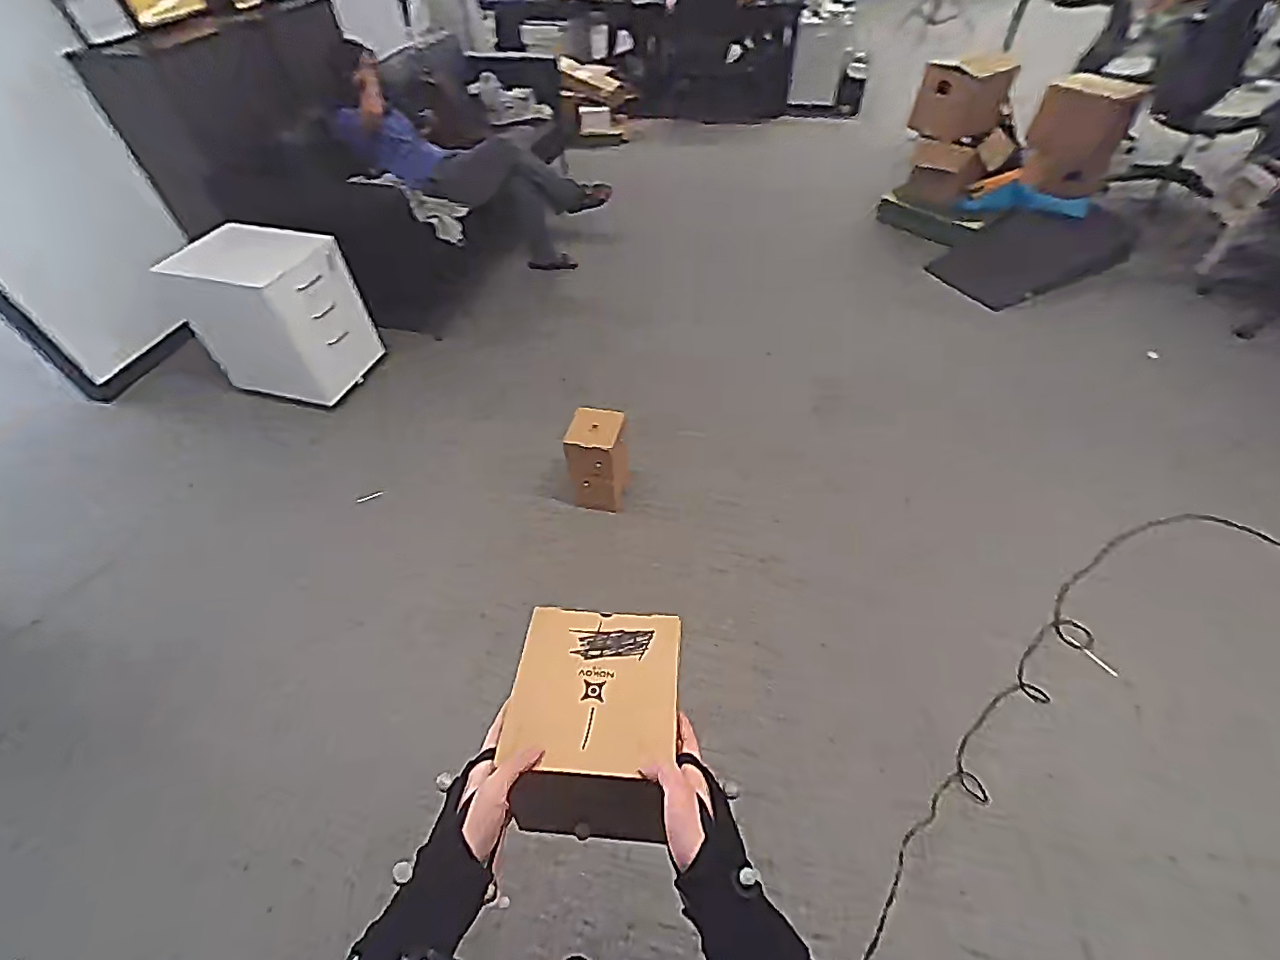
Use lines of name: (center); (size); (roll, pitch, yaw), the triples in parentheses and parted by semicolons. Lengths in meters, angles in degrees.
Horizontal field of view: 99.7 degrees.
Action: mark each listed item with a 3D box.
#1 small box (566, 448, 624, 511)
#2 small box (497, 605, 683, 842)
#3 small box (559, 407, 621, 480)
small box: (-0.157, -0.014, 1.966); (0.168, 0.176, 0.179); (10, 50, 11)
small box: (-0.042, 0.264, 0.594); (0.168, 0.176, 0.179); (3, 40, 4)
small box: (-0.162, -0.120, 1.844); (0.168, 0.176, 0.179); (9, 49, 9)
